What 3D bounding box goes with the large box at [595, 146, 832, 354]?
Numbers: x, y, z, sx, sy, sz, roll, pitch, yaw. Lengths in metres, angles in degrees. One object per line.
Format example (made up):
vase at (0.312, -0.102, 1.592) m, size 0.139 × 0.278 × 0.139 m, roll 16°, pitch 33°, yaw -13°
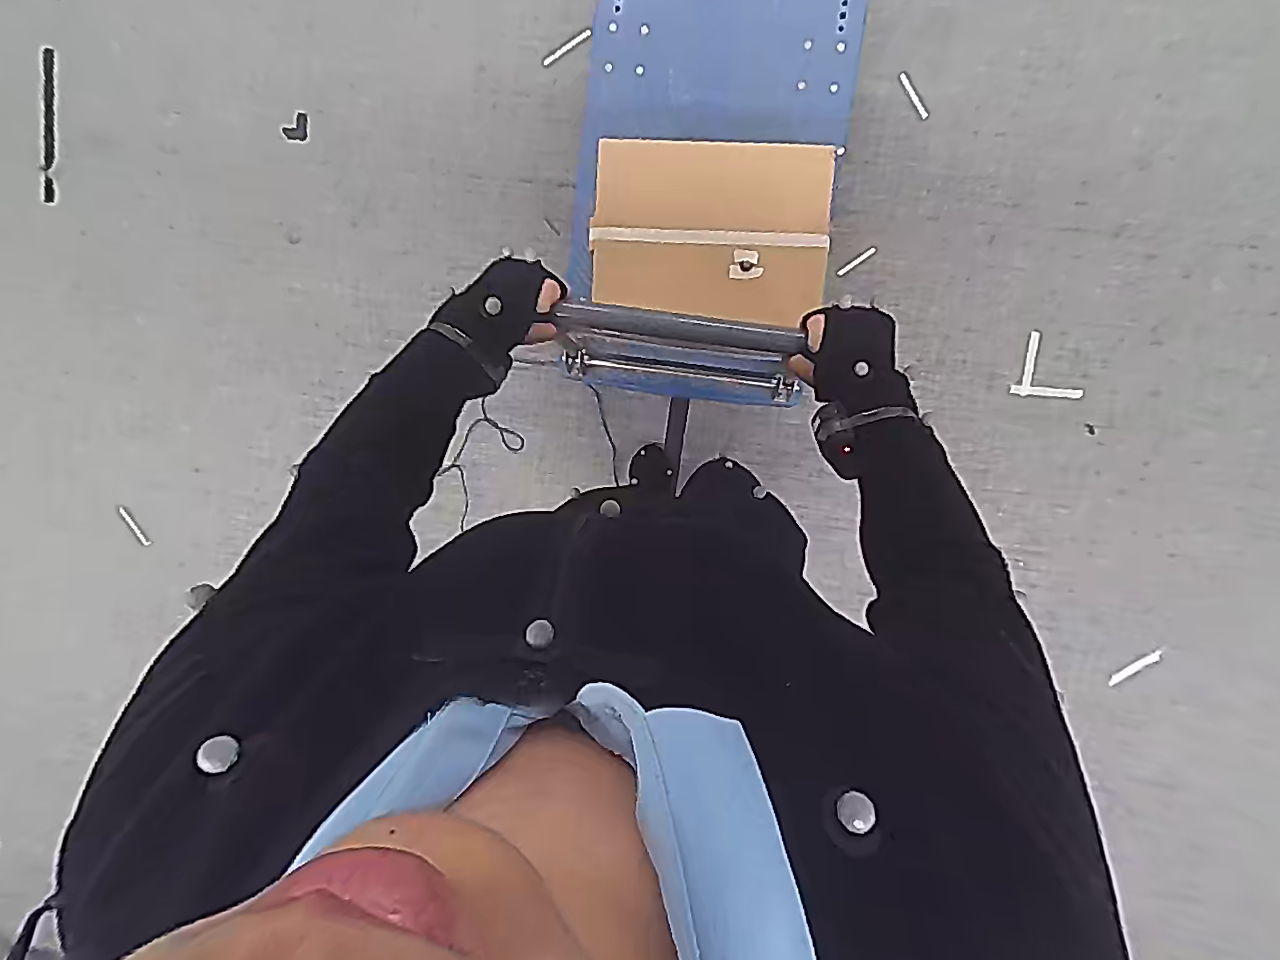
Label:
large box at (0.129, -0.435, 1.095) m, size 0.408 × 0.320 × 0.320 m, roll 4°, pitch 98°, yaw 3°
